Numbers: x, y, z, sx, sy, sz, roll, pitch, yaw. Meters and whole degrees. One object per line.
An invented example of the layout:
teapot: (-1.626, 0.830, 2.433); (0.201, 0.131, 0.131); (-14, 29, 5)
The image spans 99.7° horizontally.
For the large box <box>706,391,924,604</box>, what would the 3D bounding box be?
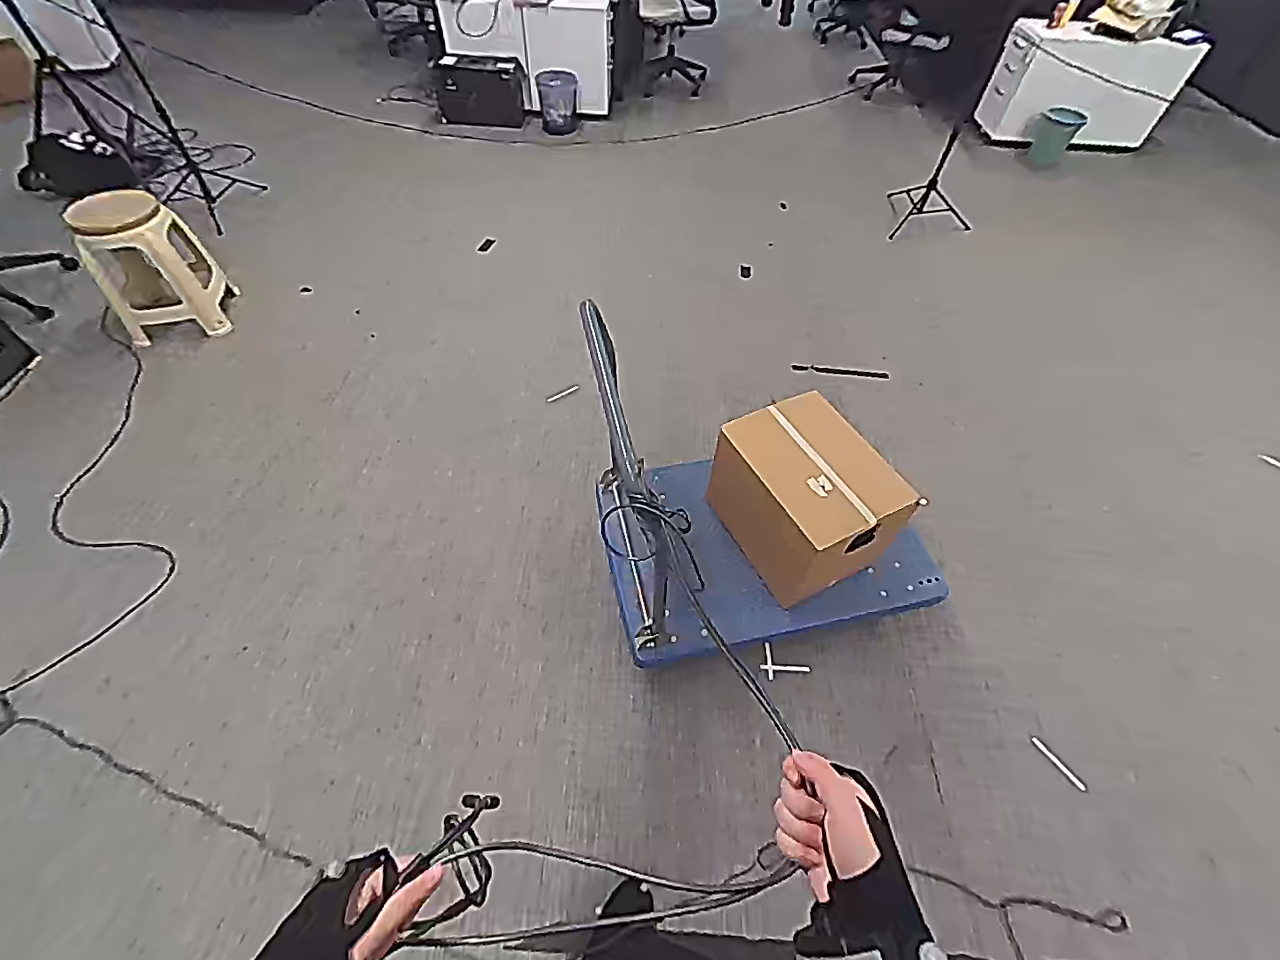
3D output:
large box: (0.423, 0.043, 1.419); (0.320, 0.320, 0.408); (-22, 58, -17)
